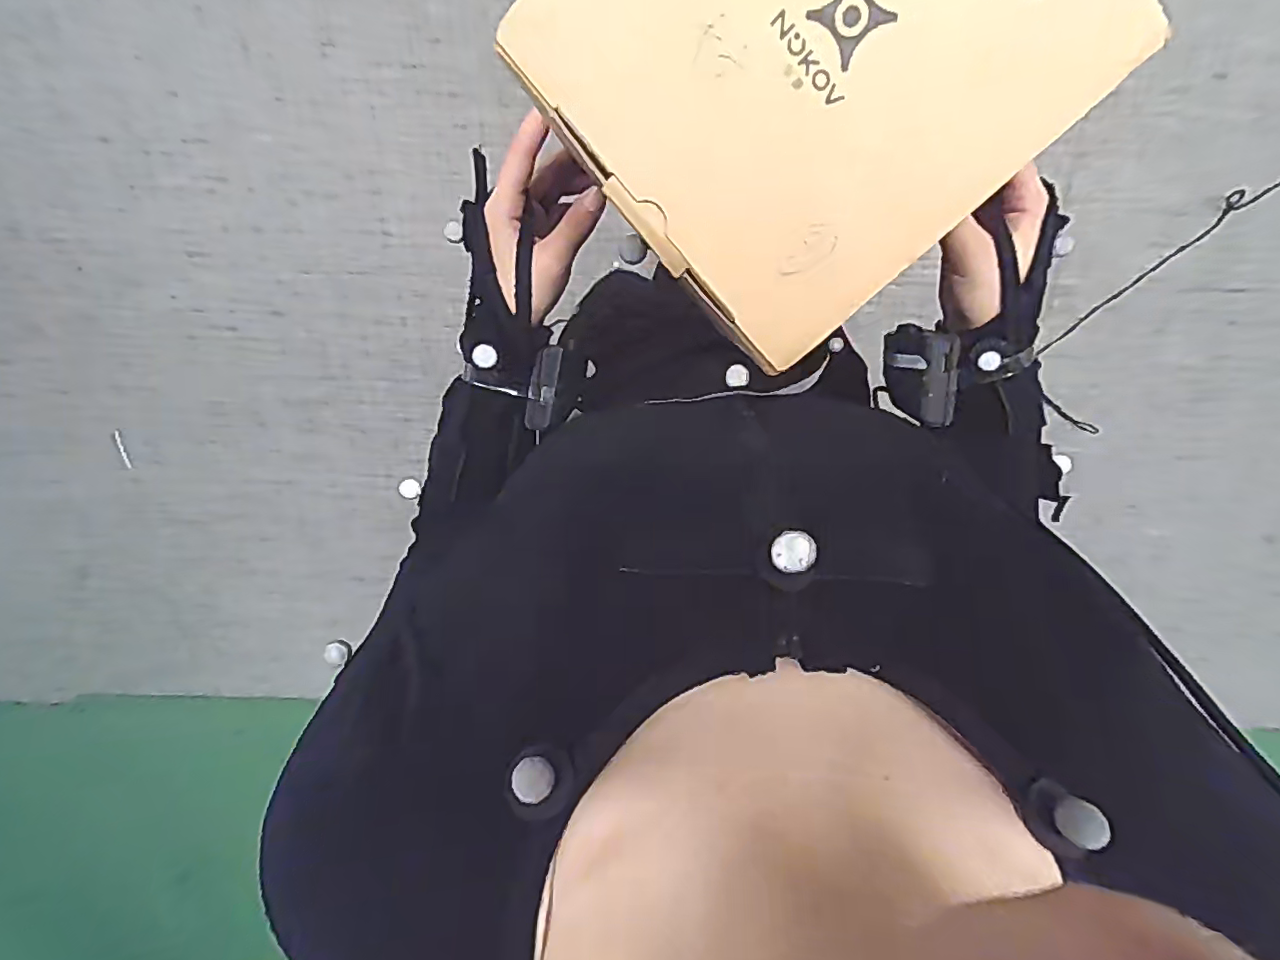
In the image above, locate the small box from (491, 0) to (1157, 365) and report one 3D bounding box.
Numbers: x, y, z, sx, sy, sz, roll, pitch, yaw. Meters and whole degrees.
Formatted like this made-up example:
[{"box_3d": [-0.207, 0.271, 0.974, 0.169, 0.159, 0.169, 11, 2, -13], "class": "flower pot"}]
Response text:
[{"box_3d": [0.065, -0.184, 0.265, 0.179, 0.176, 0.168, -40, 104, 15], "class": "small box"}]
